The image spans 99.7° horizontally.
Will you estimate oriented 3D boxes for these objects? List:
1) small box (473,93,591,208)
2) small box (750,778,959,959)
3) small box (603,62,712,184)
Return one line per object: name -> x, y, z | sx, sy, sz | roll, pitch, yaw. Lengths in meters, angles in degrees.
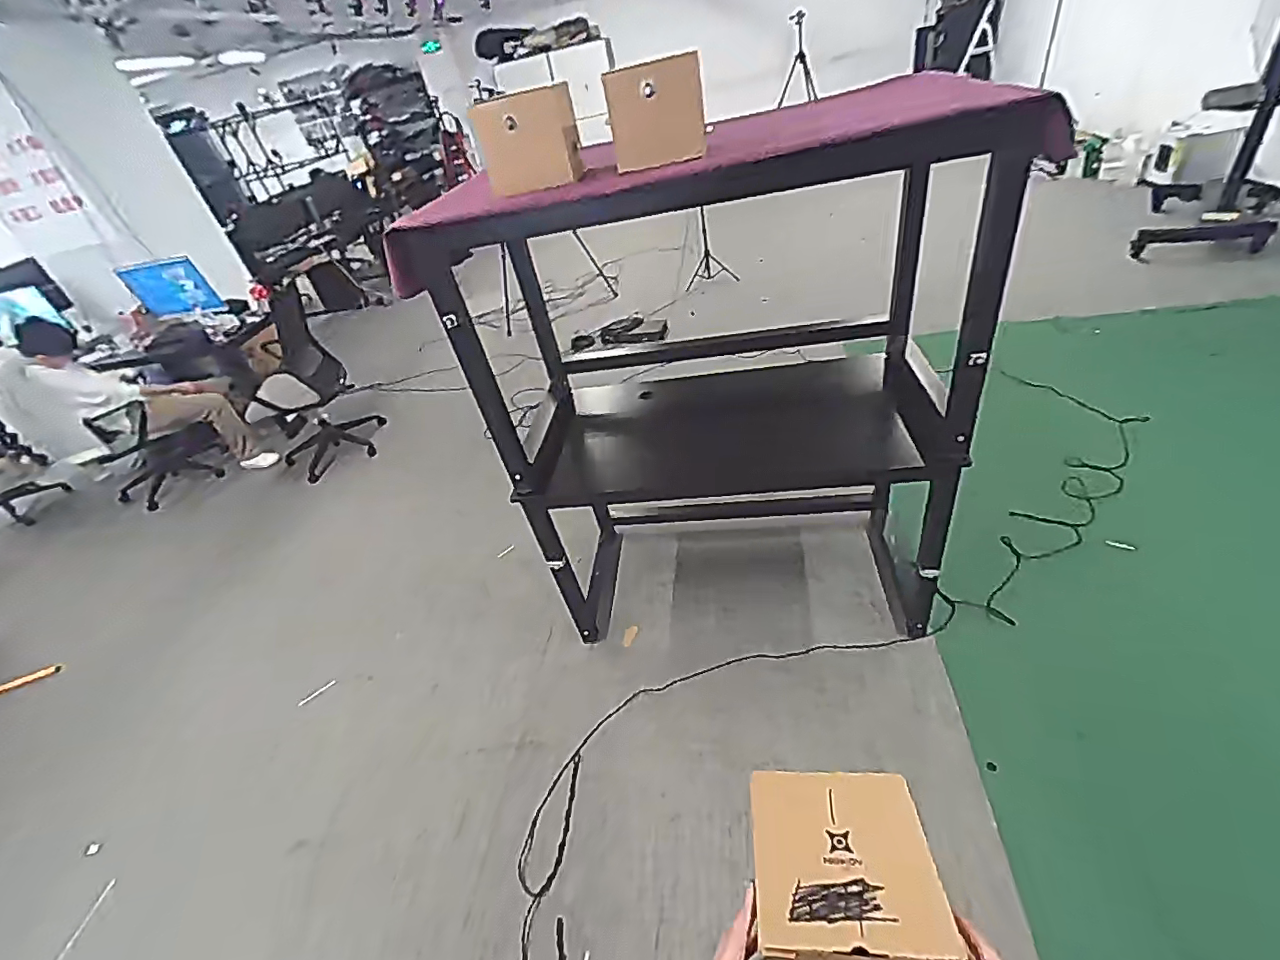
small box -> -0.217, -0.688, 1.135 | 0.179, 0.176, 0.168 | -6, 39, 11
small box -> 0.204, 0.438, 0.549 | 0.168, 0.176, 0.179 | -5, 22, 11
small box -> 0.043, -0.704, 1.071 | 0.179, 0.176, 0.168 | -4, 38, 13
